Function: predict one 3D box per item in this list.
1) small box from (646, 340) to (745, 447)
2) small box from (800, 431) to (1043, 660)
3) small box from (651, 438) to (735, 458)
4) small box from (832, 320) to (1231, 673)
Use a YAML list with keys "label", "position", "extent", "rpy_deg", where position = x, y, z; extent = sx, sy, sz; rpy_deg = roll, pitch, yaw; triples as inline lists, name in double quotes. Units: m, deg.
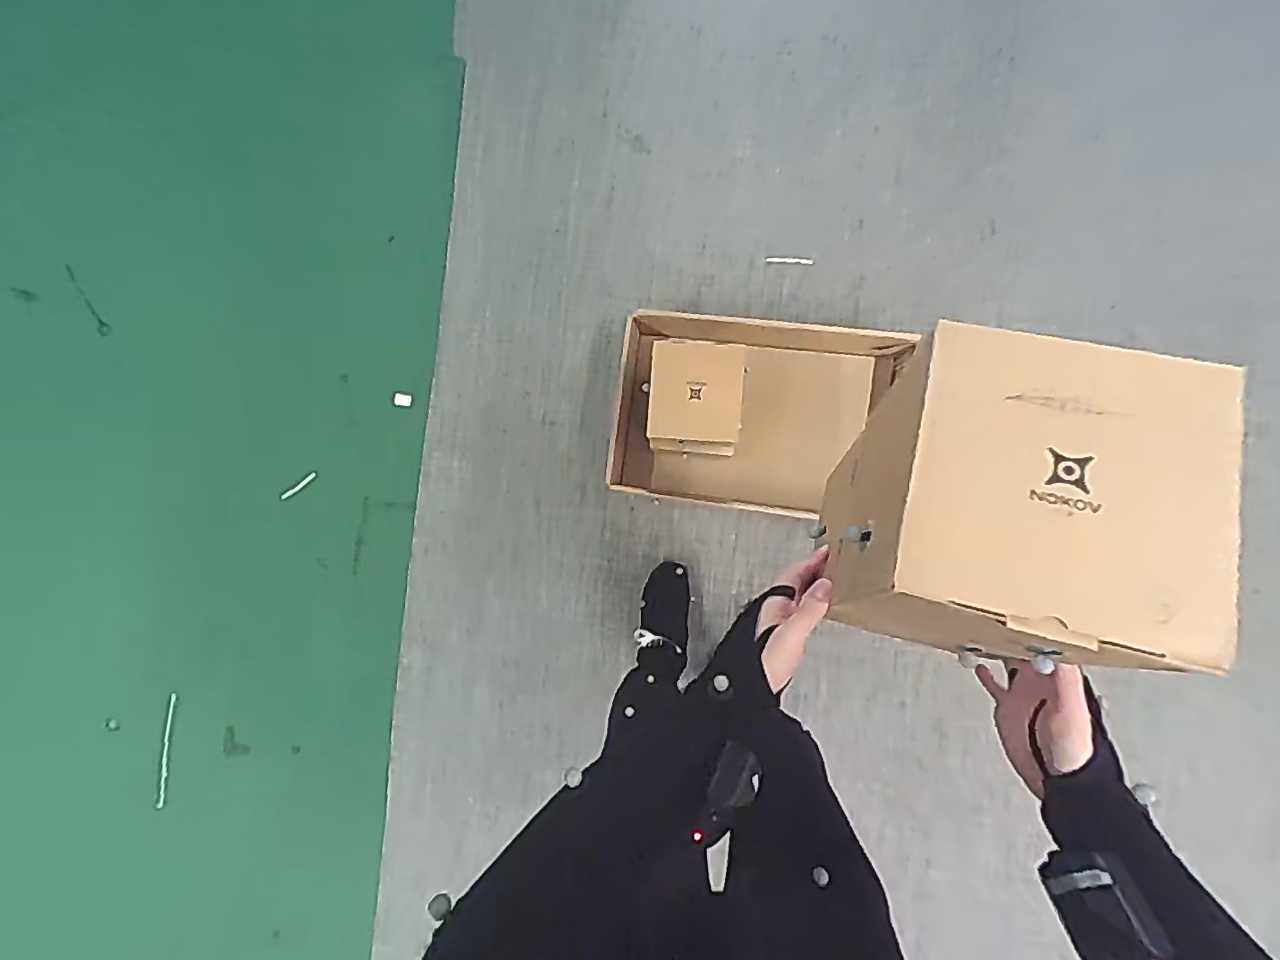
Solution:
- label: "small box"
  position: [0.107, -0.157, 1.034]
  extent: [0.168, 0.176, 0.179]
  rpy_deg: [4, 89, 7]
- label: "small box"
  position: [0.271, 0.067, 0.537]
  extent: [0.179, 0.176, 0.168]
  rpy_deg: [13, 77, 12]
- label: "small box"
  position: [0.124, -0.141, 1.195]
  extent: [0.179, 0.176, 0.168]
  rpy_deg: [6, 90, 5]
- label: "small box"
  position: [0.245, 0.019, 0.383]
  extent: [0.168, 0.176, 0.179]
  rpy_deg: [14, 77, 12]
